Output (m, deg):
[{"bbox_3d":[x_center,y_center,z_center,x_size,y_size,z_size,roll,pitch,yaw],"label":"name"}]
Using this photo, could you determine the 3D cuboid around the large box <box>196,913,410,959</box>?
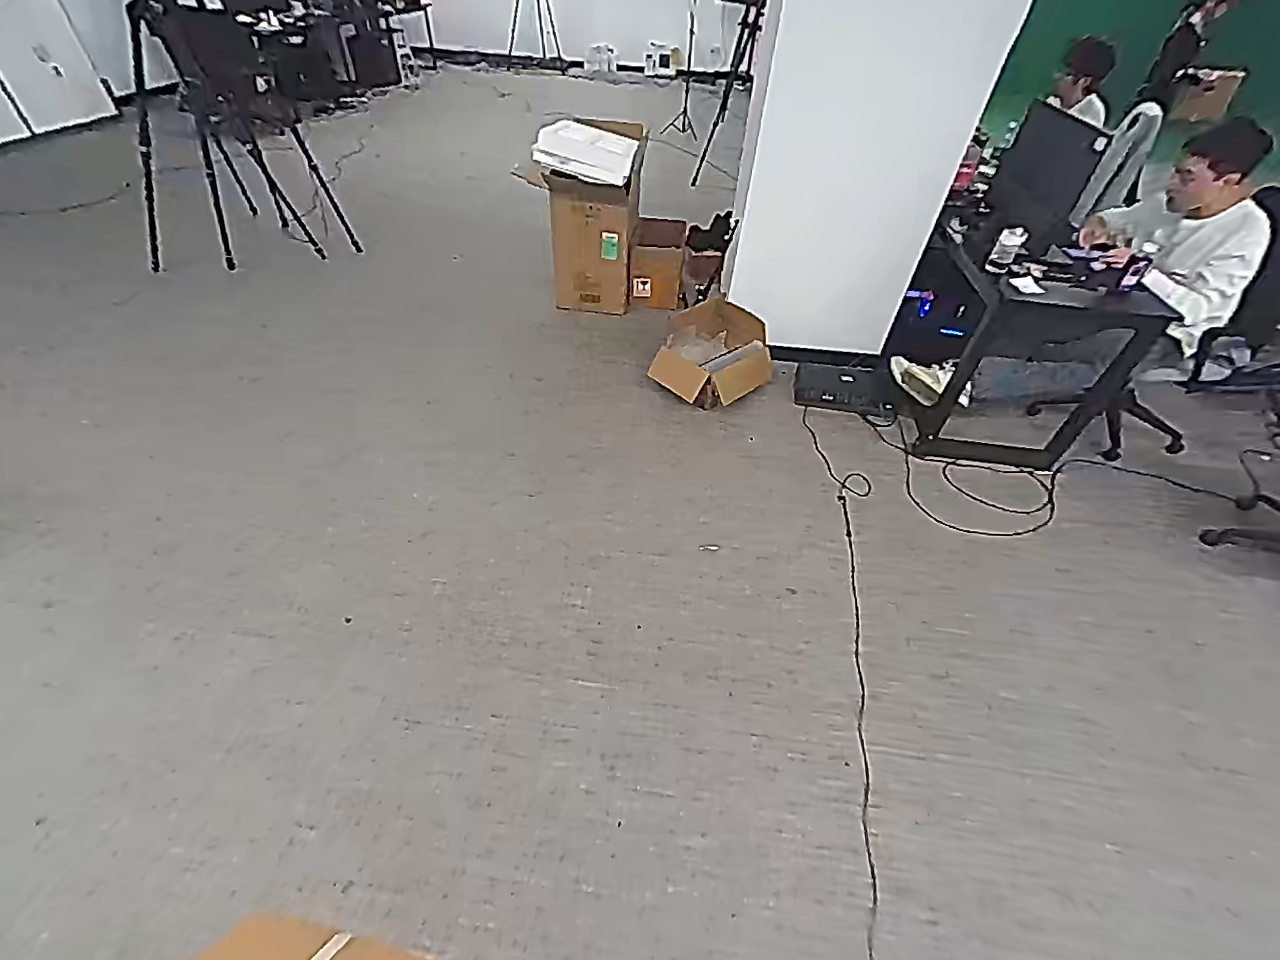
[{"bbox_3d":[-0.487,0.802,0.593,0.320,0.408,0.320,8,82,8],"label":"large box"}]
